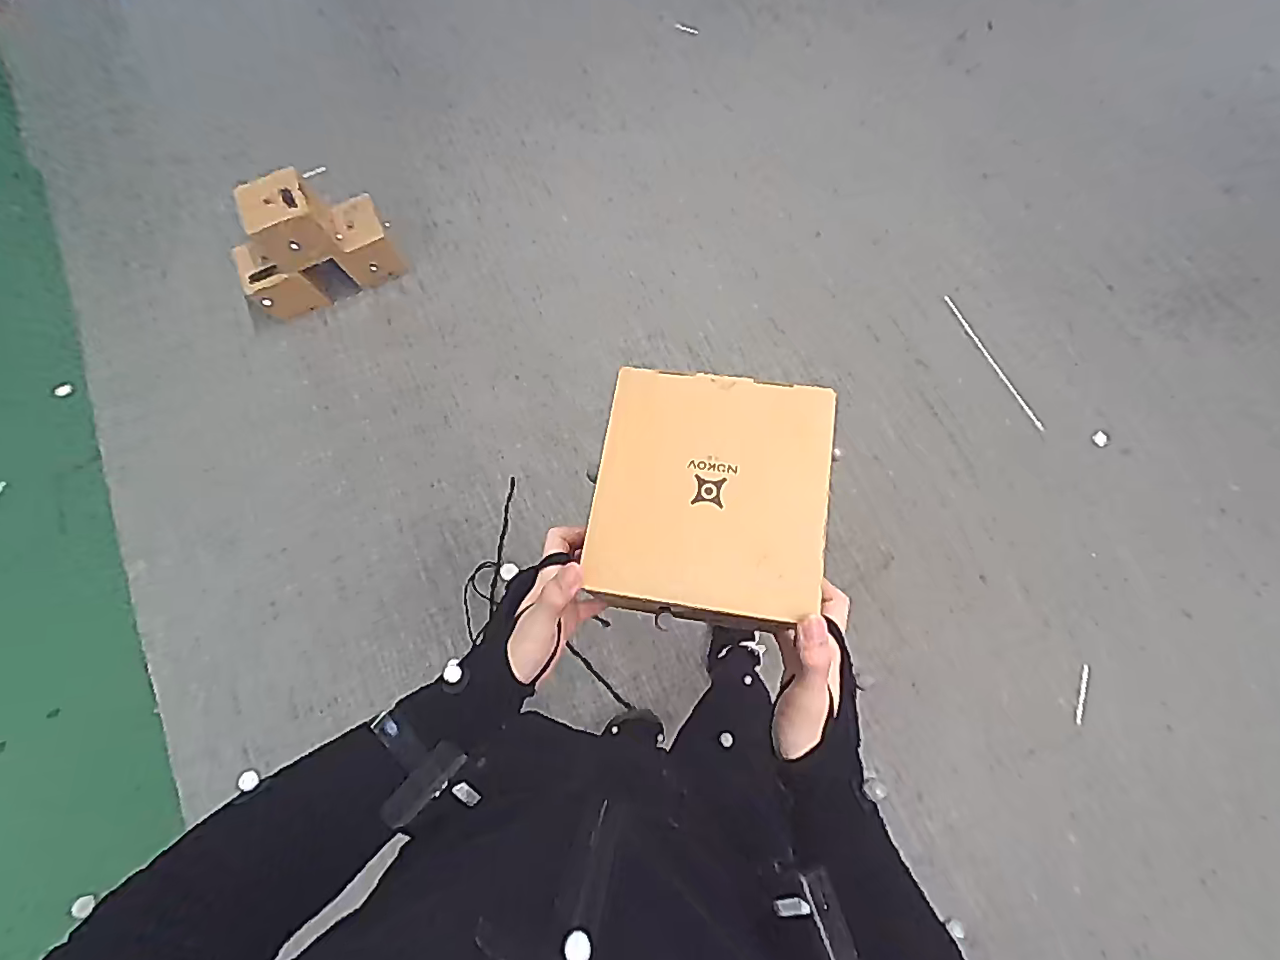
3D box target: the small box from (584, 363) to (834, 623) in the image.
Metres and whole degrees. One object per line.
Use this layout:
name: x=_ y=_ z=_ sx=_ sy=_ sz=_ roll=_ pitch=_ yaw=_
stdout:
small box: x=0.061 y=0.022 z=0.466 sx=0.168 sy=0.176 sz=0.179 roll=7 pitch=72 yaw=8

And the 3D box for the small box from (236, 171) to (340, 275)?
small box: x=-0.974 y=-0.714 z=1.515 sx=0.179 sy=0.176 sz=0.168 roll=-23 pitch=76 yaw=-3

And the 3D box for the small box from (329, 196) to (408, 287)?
small box: x=-0.853 y=-0.729 z=1.682 sx=0.168 sy=0.176 sz=0.179 roll=-25 pitch=76 yaw=-3
